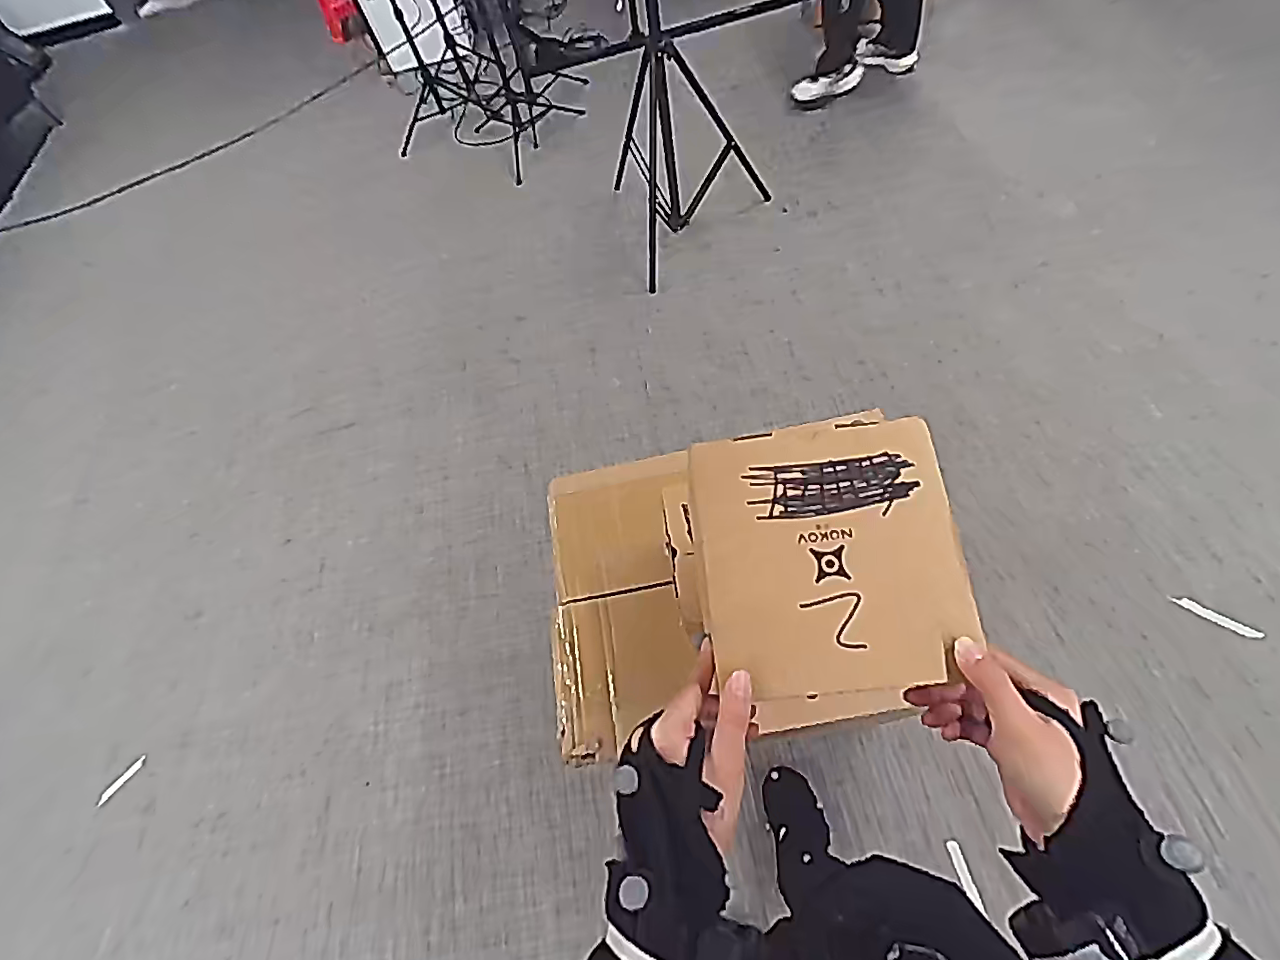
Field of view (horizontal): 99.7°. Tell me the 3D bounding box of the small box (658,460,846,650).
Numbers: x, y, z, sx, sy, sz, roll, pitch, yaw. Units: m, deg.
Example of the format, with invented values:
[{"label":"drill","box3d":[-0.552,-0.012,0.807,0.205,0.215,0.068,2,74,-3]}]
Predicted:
[{"label":"small box","box3d":[0.128,0.100,0.657,0.179,0.176,0.168,-11,62,4]}]
